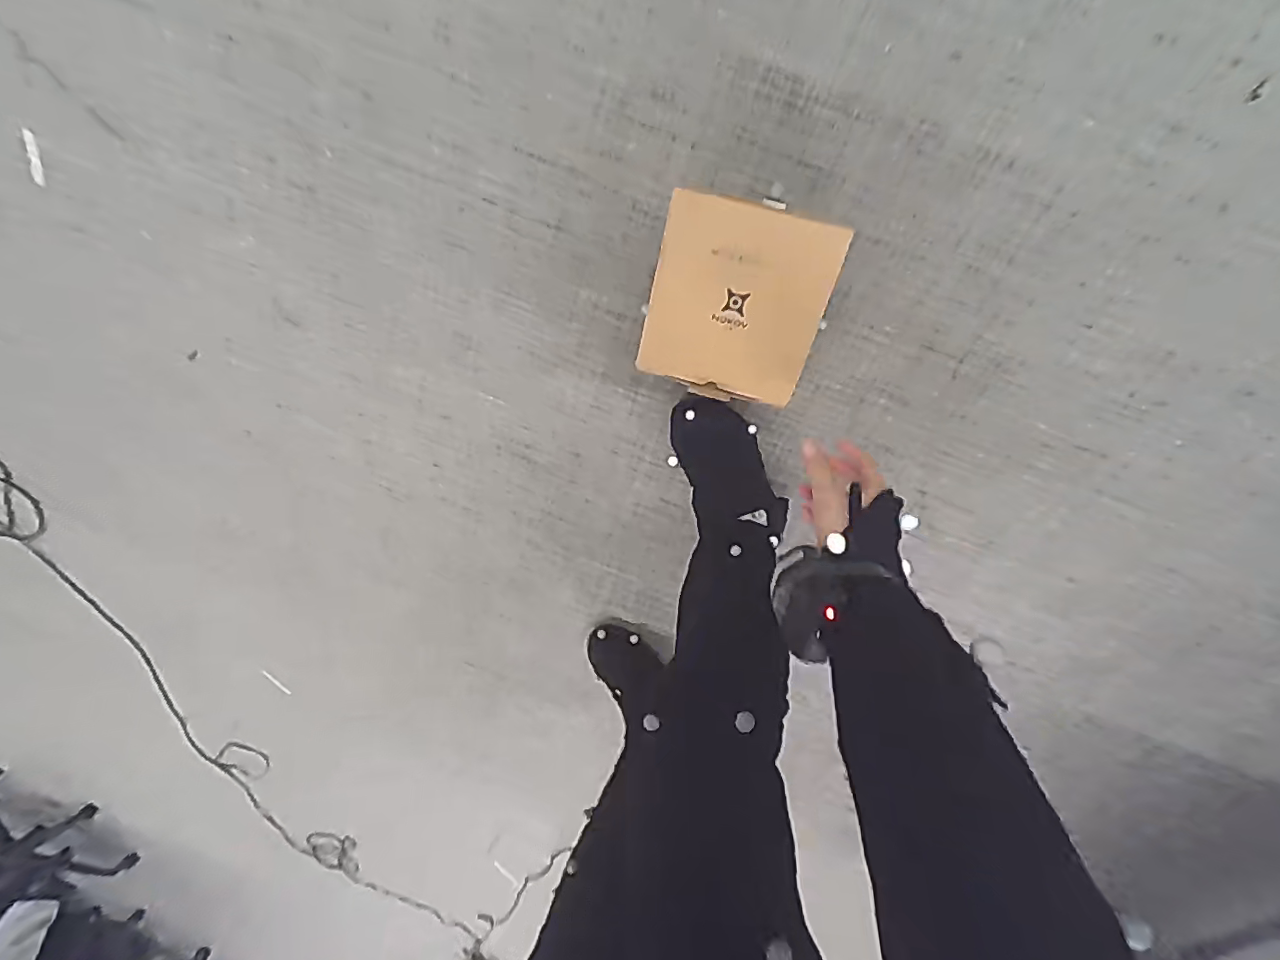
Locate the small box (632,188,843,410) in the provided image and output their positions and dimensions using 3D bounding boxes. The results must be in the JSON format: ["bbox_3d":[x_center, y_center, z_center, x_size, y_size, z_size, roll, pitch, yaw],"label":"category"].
[{"bbox_3d":[0.101,-0.204,0.591,0.168,0.176,0.179,15,121,3],"label":"small box"}]
